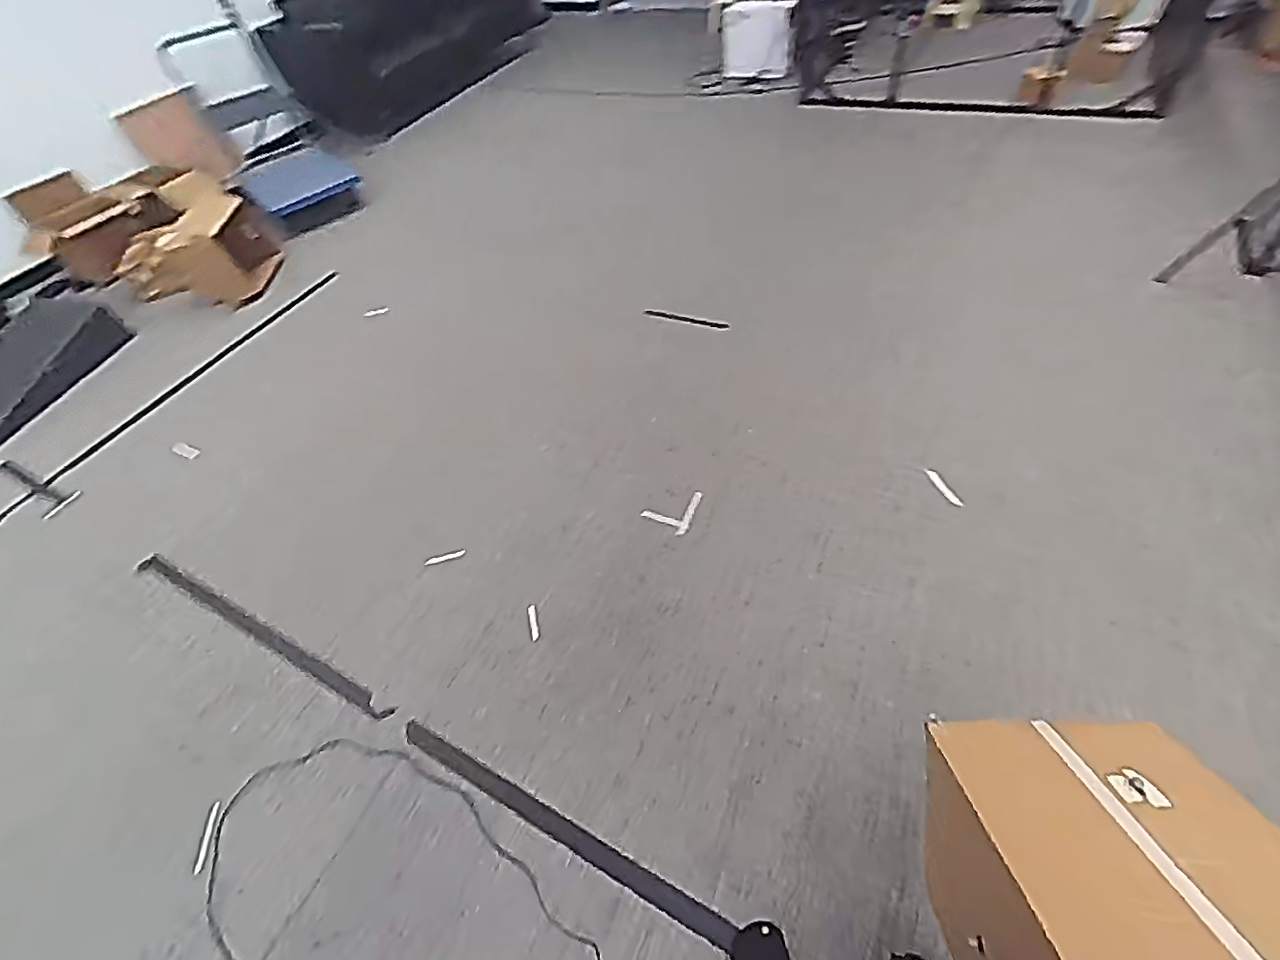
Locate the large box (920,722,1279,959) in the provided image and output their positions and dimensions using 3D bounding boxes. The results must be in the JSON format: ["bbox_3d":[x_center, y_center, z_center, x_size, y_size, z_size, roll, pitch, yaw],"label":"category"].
[{"bbox_3d":[0.584,0.564,0.665,0.320,0.320,0.408,-3,11,7],"label":"large box"}]
